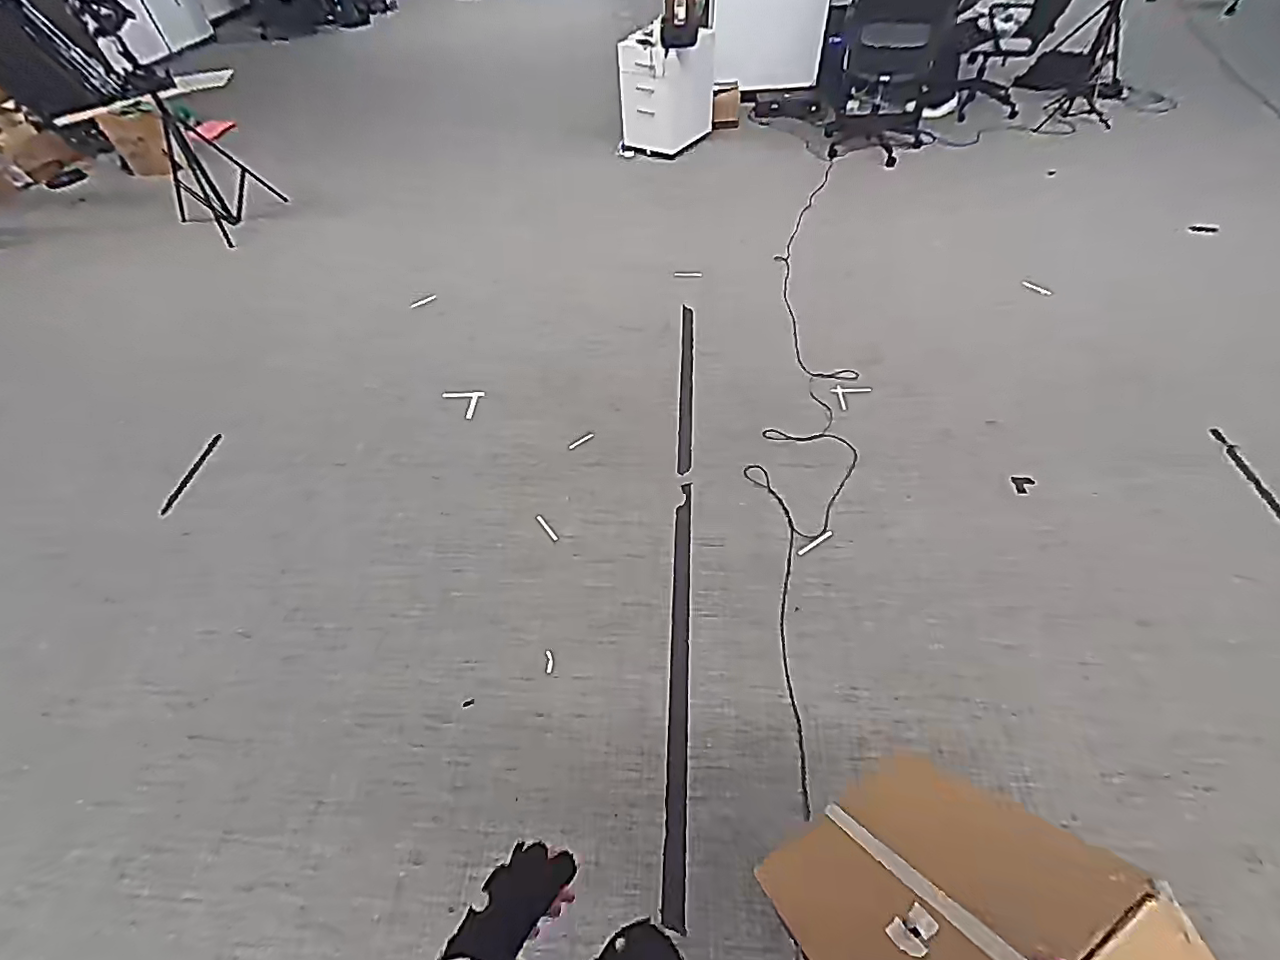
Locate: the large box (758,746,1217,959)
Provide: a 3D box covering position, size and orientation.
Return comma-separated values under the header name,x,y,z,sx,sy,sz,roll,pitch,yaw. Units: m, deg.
name,x,y,z,sx,sy,sz,roll,pitch,yaw
large box,0.418,0.611,0.662,0.320,0.408,0.320,-34,89,-13
